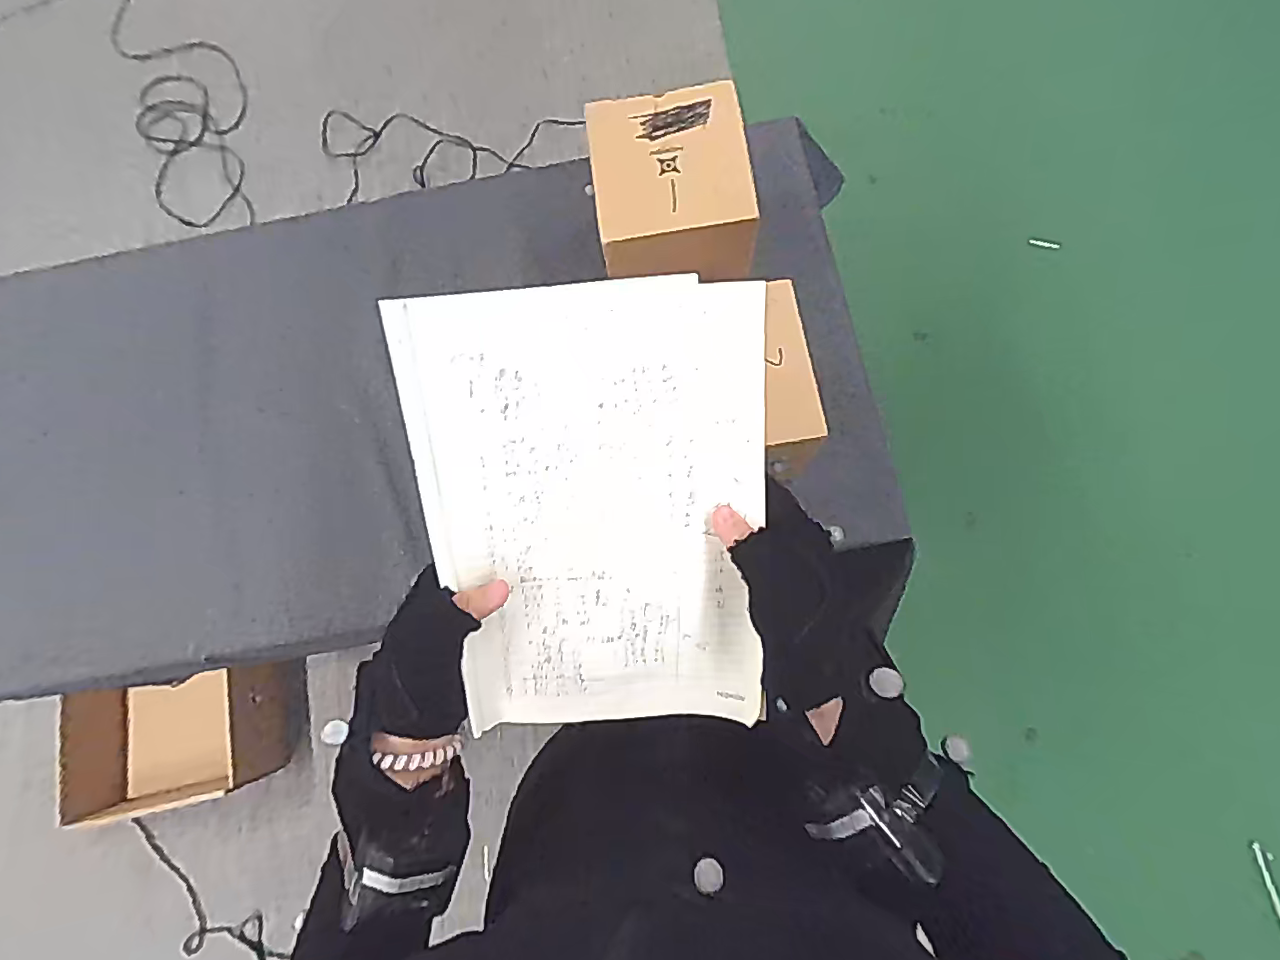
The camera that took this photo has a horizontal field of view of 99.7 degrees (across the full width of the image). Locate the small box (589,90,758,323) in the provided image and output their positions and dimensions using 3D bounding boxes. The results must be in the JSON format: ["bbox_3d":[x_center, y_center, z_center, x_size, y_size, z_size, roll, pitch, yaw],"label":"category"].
[{"bbox_3d":[0.038,-0.316,0.653,0.168,0.176,0.179,-8,78,3],"label":"small box"}]
